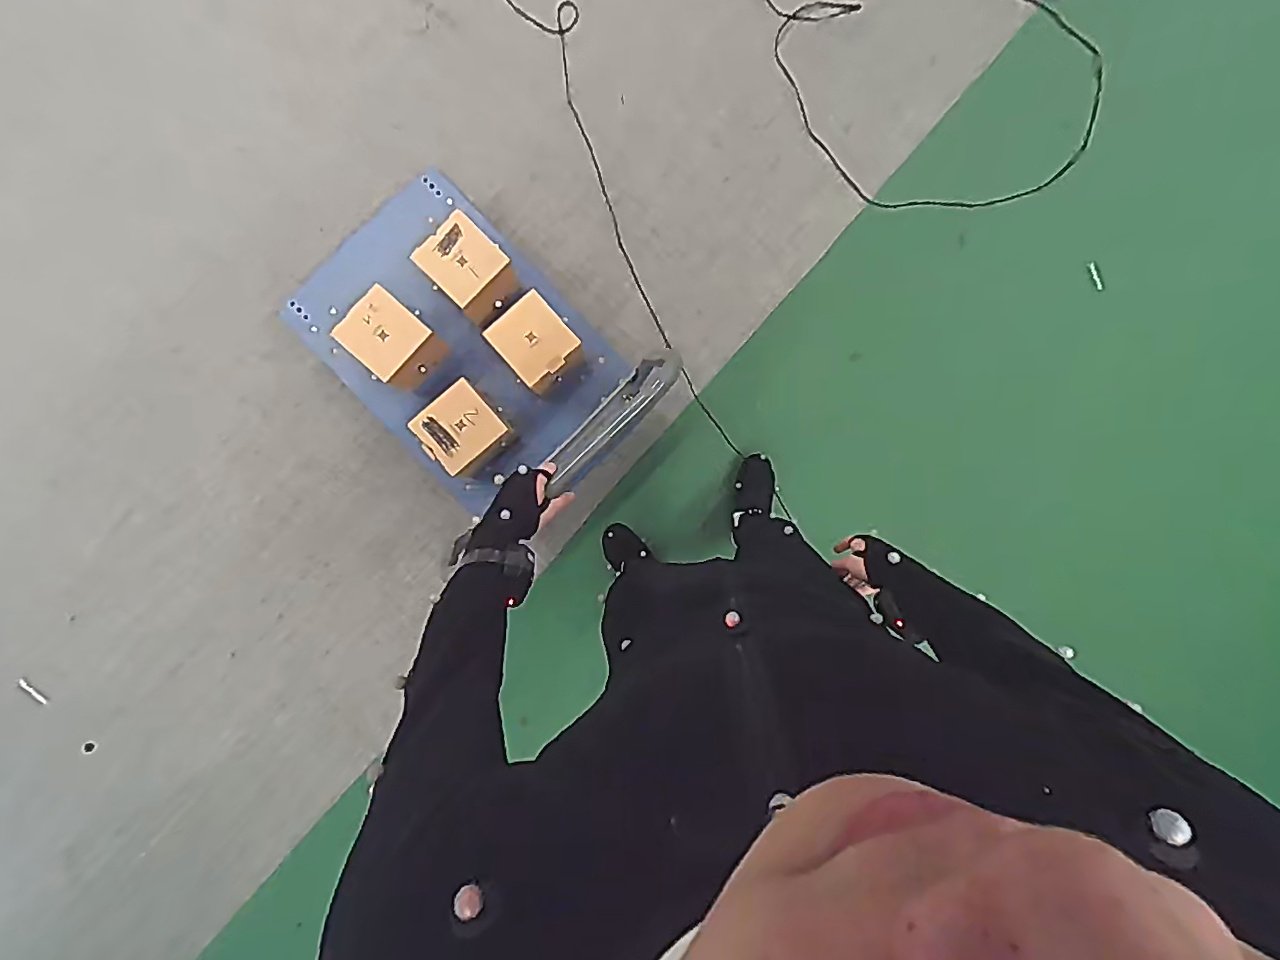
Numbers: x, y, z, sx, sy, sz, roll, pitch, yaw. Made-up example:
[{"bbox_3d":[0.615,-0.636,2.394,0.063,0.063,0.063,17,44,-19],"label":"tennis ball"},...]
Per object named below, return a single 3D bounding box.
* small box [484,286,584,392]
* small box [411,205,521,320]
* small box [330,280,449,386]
[{"bbox_3d":[-0.257,-0.342,1.352,0.168,0.176,0.179,-42,93,-1],"label":"small box"},{"bbox_3d":[-0.423,-0.528,1.341,0.179,0.176,0.168,45,90,-3],"label":"small box"},{"bbox_3d":[-0.606,-0.351,1.335,0.179,0.176,0.168,43,88,-2],"label":"small box"}]
